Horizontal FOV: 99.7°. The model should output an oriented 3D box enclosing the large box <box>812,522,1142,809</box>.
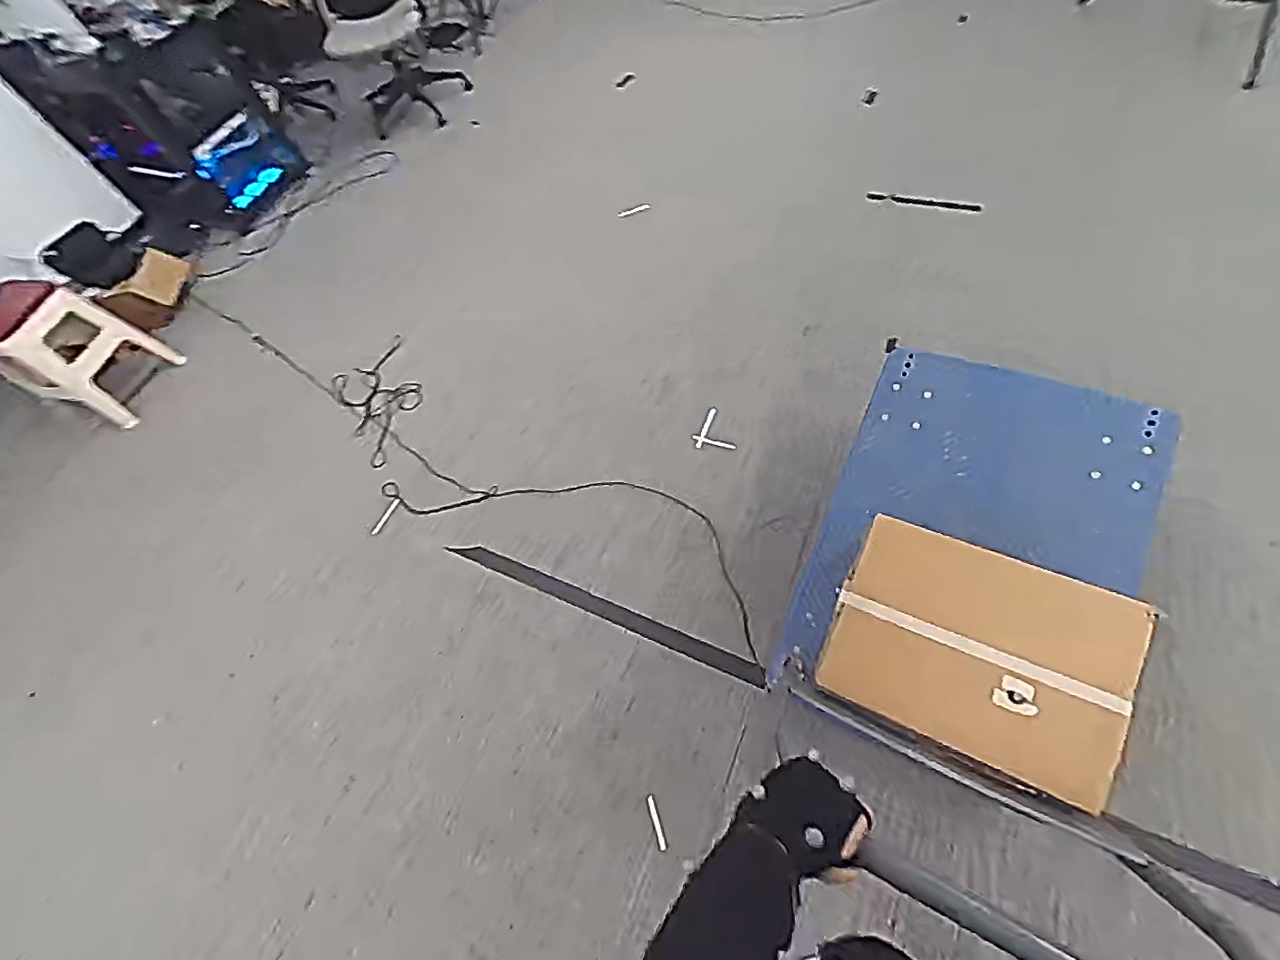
[{"bbox_3d":[0.567,0.313,1.002,0.408,0.320,0.320,21,82,21],"label":"large box"}]
